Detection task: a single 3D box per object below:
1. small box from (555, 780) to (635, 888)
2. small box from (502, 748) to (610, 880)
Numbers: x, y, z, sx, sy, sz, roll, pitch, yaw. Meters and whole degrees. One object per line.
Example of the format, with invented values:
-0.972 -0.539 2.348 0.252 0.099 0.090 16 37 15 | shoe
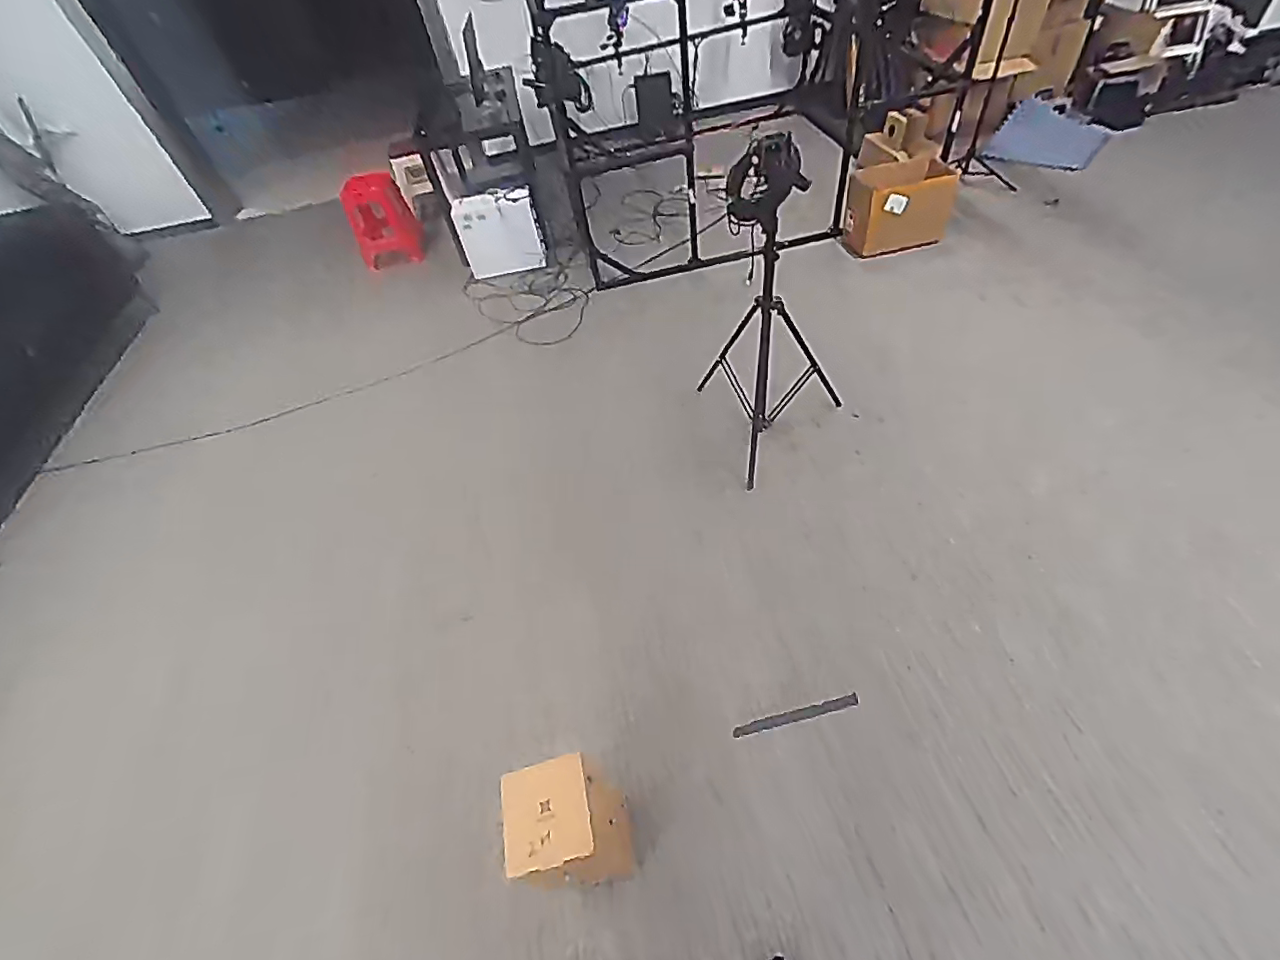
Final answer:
-0.117 0.869 1.324 0.168 0.176 0.179 -16 49 -2 | small box
-0.165 0.663 1.073 0.168 0.176 0.179 -16 50 -2 | small box
